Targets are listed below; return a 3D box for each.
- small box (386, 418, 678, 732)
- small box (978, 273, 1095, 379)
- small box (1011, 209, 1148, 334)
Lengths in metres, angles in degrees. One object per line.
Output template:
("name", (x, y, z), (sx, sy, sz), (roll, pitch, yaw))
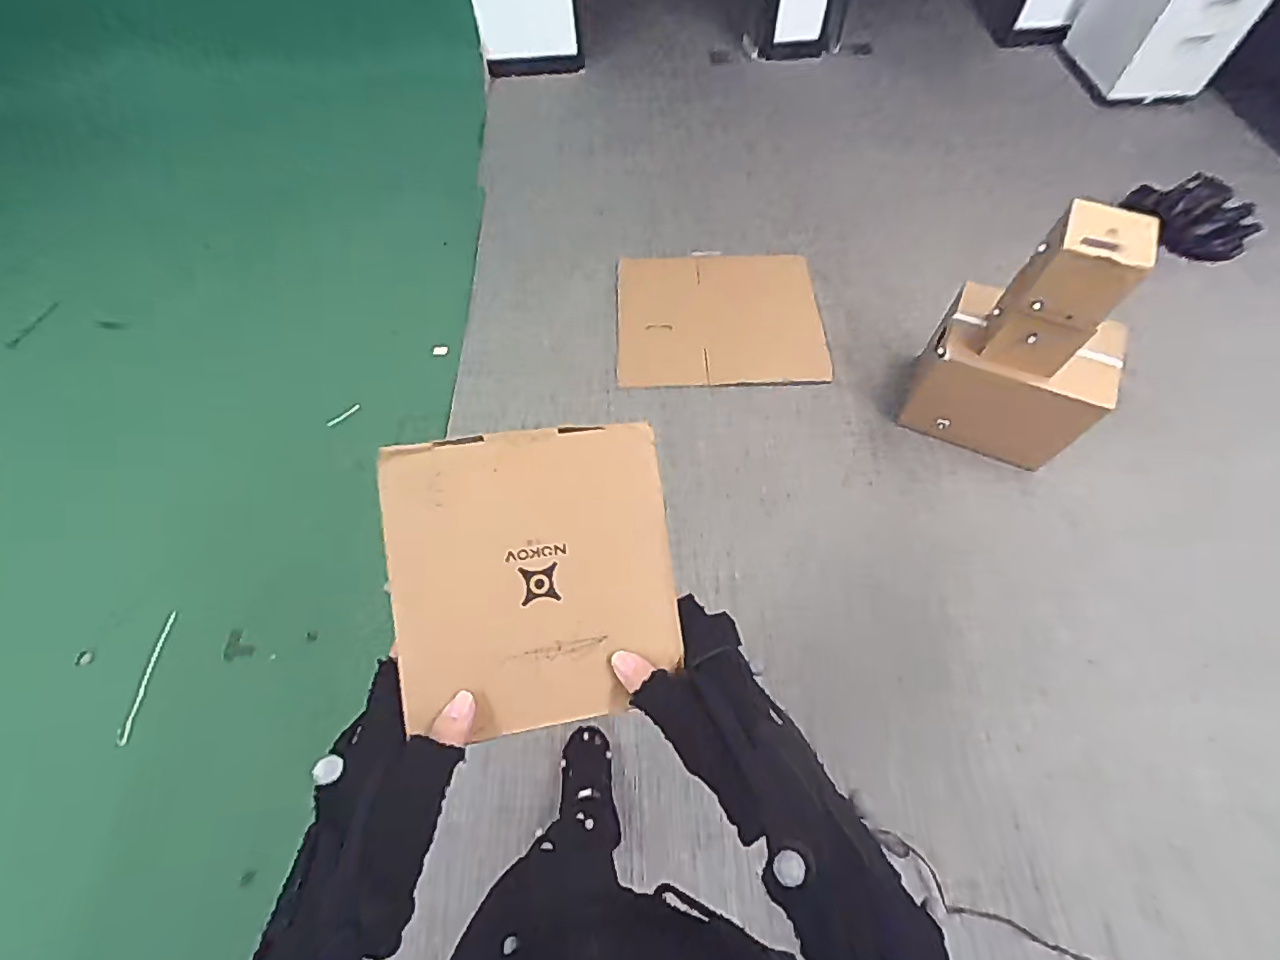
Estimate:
("small box", (-0.080, 0.060, 0.409), (0.168, 0.176, 0.179), (-6, 86, -11))
("small box", (0.966, -0.374, 1.331), (0.179, 0.176, 0.168), (19, 61, 11))
("small box", (0.952, -0.451, 1.183), (0.168, 0.176, 0.179), (23, 63, 14))
